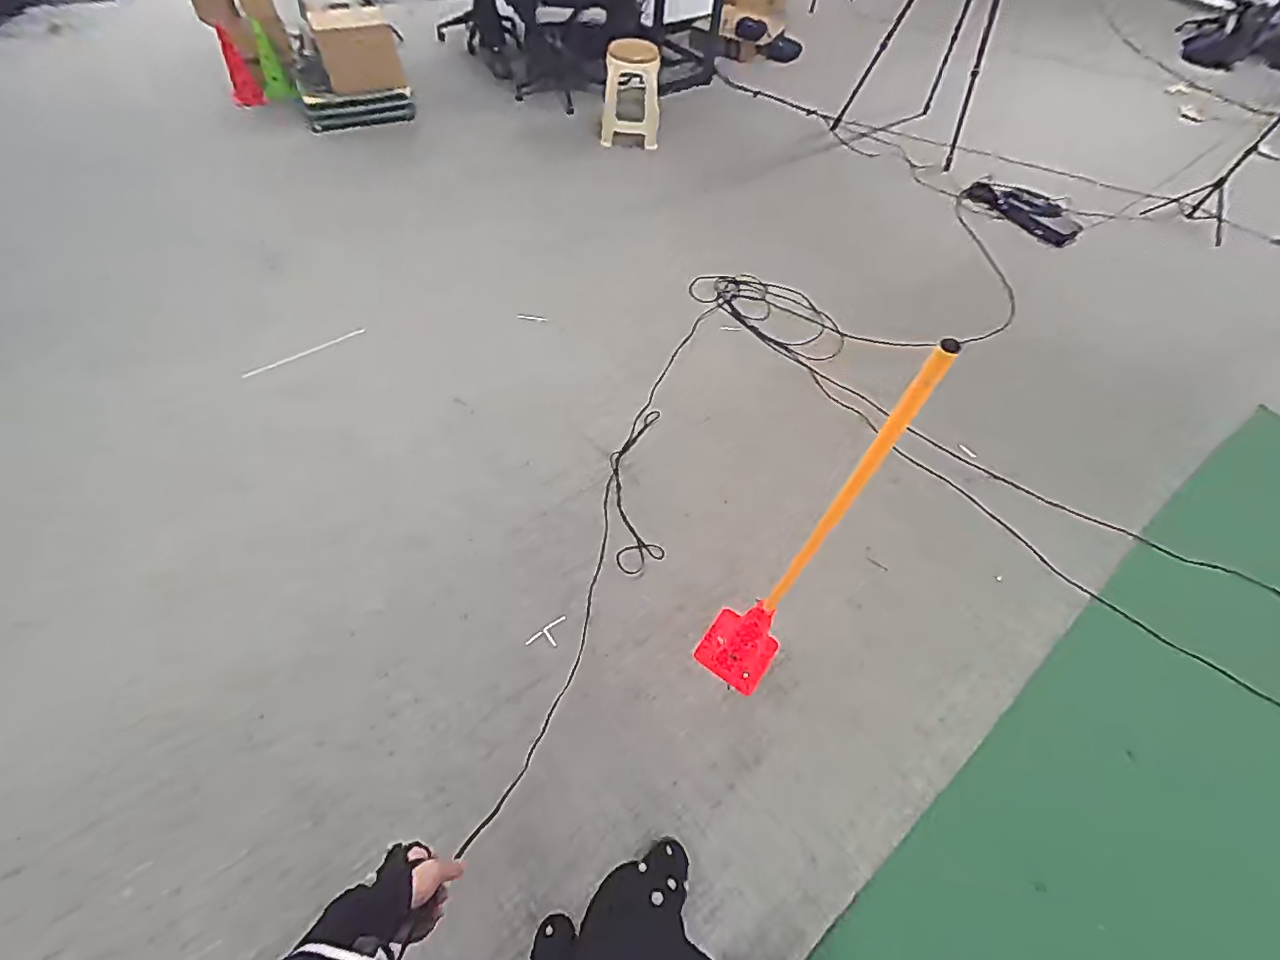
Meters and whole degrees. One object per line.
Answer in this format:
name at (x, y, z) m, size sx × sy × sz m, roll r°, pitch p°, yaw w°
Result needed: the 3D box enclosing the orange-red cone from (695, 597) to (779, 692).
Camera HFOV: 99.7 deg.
orange-red cone at (0.303, 0.399, 1.457) m, size 0.198 × 0.360 × 0.199 m, roll 34°, pitch 58°, yaw 16°
